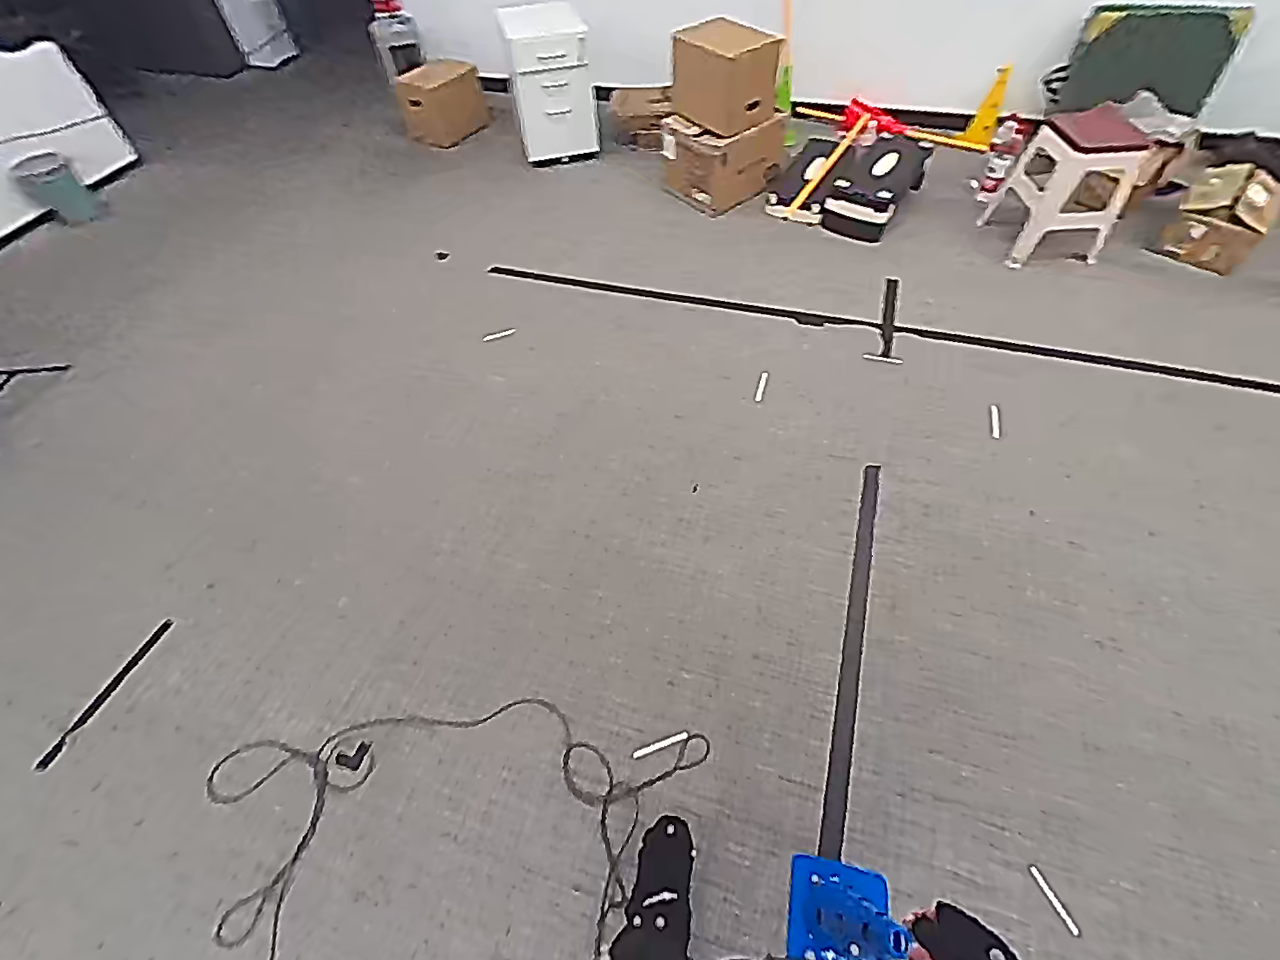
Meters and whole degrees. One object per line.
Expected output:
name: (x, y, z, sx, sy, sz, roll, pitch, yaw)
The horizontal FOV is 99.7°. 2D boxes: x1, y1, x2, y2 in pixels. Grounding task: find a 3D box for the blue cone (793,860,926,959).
blue cone: (0.408, 0.808, 0.968, 0.192, 0.380, 0.193, 11, 56, 9)
